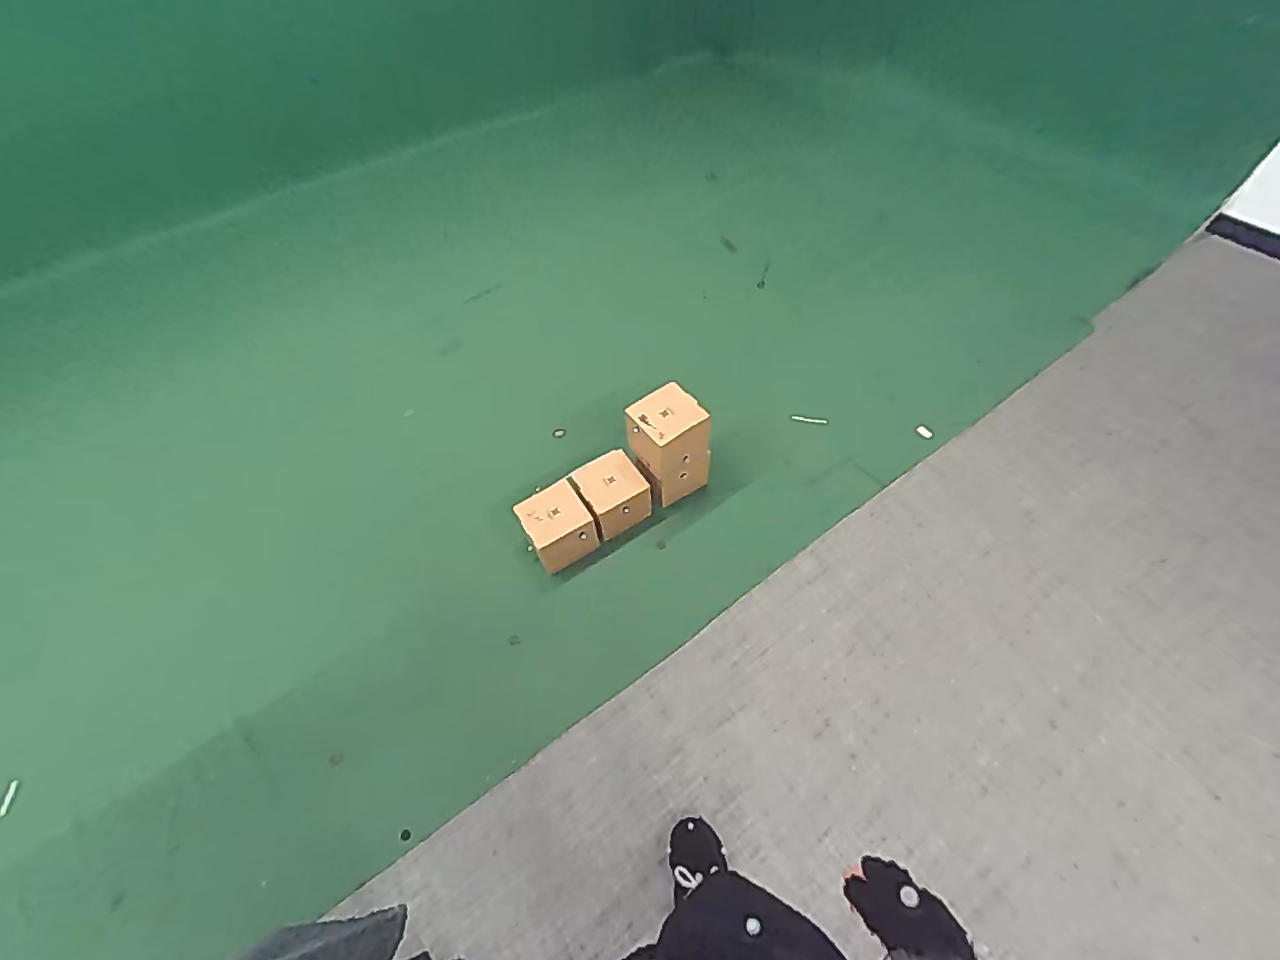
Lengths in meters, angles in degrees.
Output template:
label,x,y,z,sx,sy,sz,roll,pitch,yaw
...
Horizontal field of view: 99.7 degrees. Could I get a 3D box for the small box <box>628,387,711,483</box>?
label,x,y,z,sx,sy,sz,roll,pitch,yaw
small box,0.080,-0.125,1.545,0.179,0.176,0.168,-31,59,-18
